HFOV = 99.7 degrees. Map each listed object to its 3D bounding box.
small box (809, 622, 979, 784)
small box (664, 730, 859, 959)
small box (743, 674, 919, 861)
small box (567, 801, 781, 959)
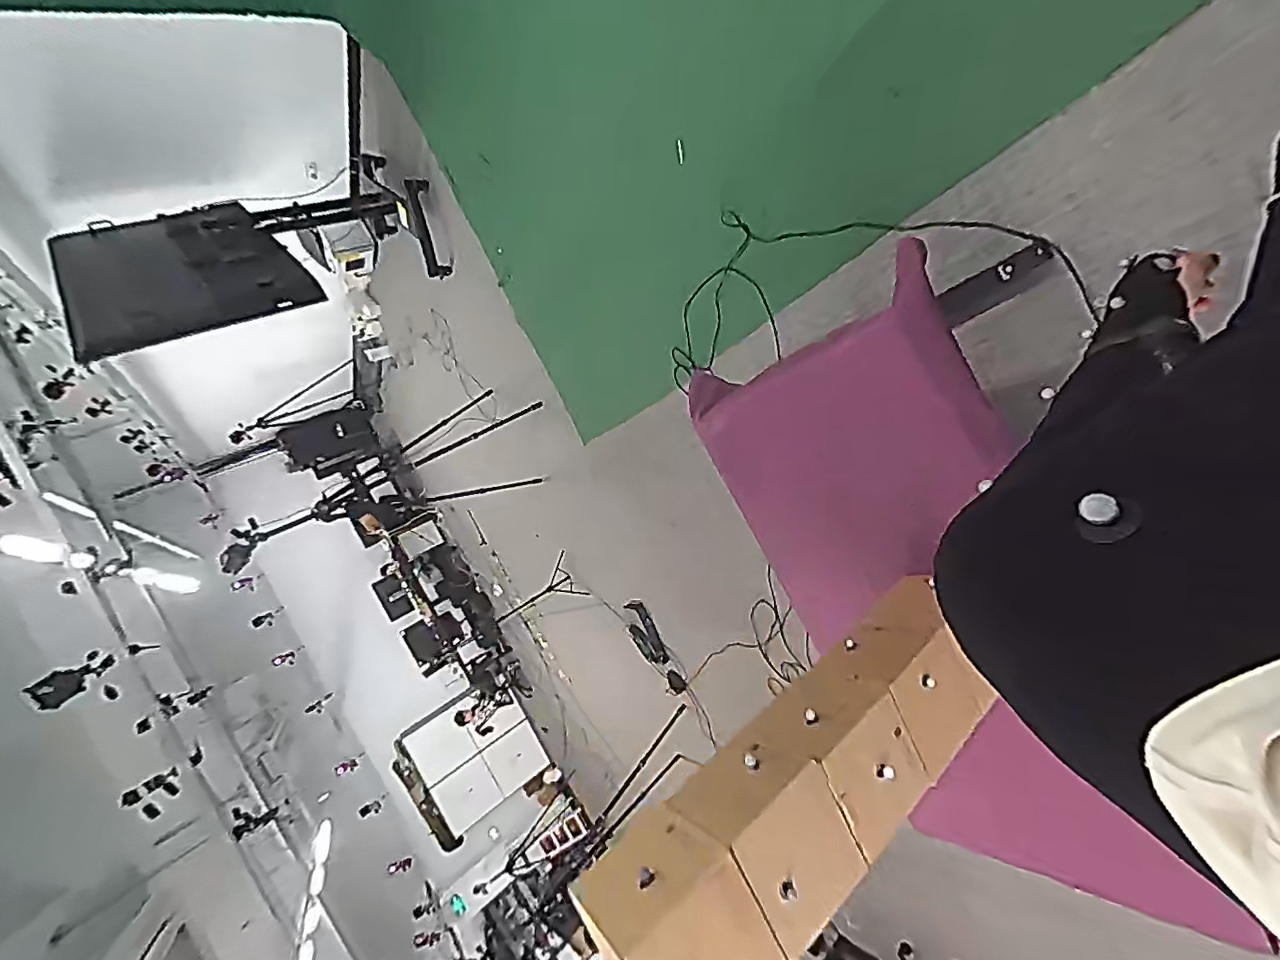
[{"bbox_3d":[0.427,0.358,0.911,0.168,0.176,0.179,-18,98,60],"label":"small box"},{"bbox_3d":[0.170,0.491,0.757,0.168,0.176,0.179,-23,93,61],"label":"small box"},{"bbox_3d":[0.298,0.425,0.836,0.179,0.176,0.168,-19,97,60],"label":"small box"},{"bbox_3d":[0.041,0.551,0.679,0.168,0.176,0.179,-21,96,60],"label":"small box"}]
